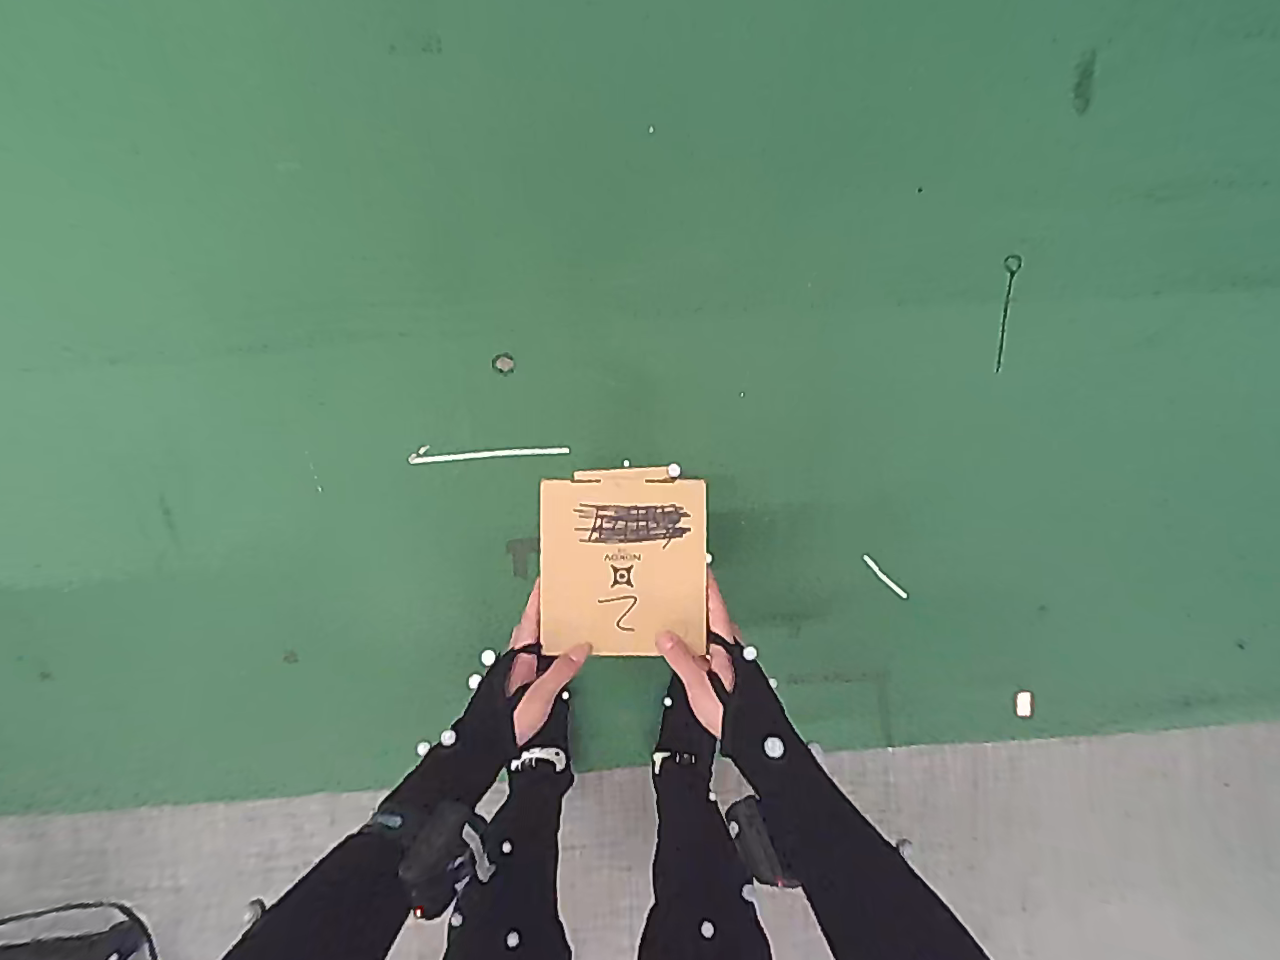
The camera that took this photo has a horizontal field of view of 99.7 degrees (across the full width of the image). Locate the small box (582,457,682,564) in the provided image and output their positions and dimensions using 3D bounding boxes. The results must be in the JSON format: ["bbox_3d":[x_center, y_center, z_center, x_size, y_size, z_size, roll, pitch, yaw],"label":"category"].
[{"bbox_3d":[-0.014,0.051,0.989,0.168,0.176,0.179,-3,92,1],"label":"small box"}]
